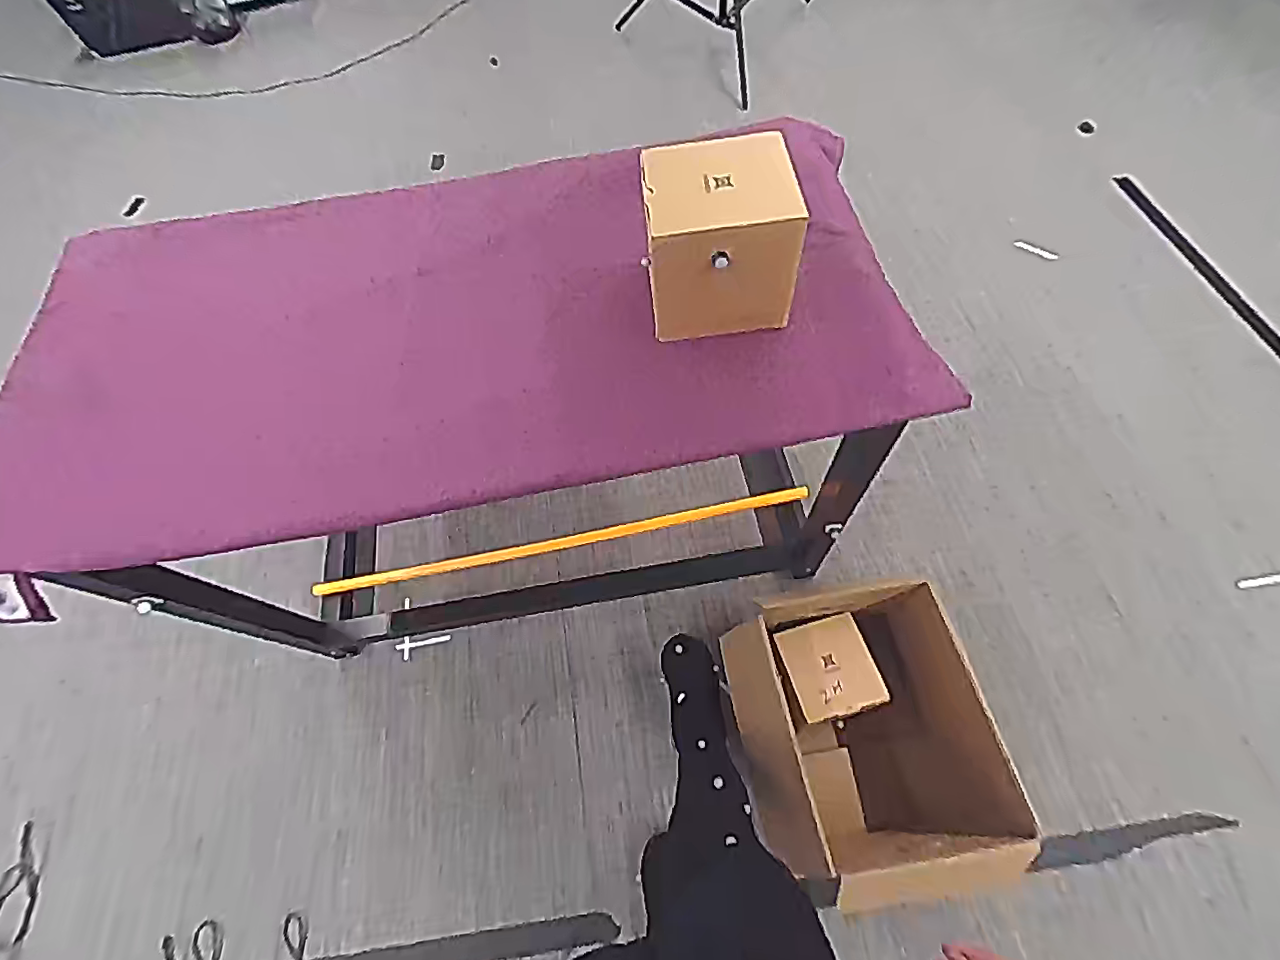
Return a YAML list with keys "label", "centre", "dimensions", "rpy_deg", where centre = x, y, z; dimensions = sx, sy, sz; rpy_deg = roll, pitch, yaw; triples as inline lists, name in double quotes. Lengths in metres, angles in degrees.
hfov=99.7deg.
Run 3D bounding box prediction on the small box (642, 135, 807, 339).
- label: "small box"
  centre: [0.100, -0.306, 0.701]
  dimensions: [0.179, 0.176, 0.168]
  rpy_deg: [-6, 61, 3]
